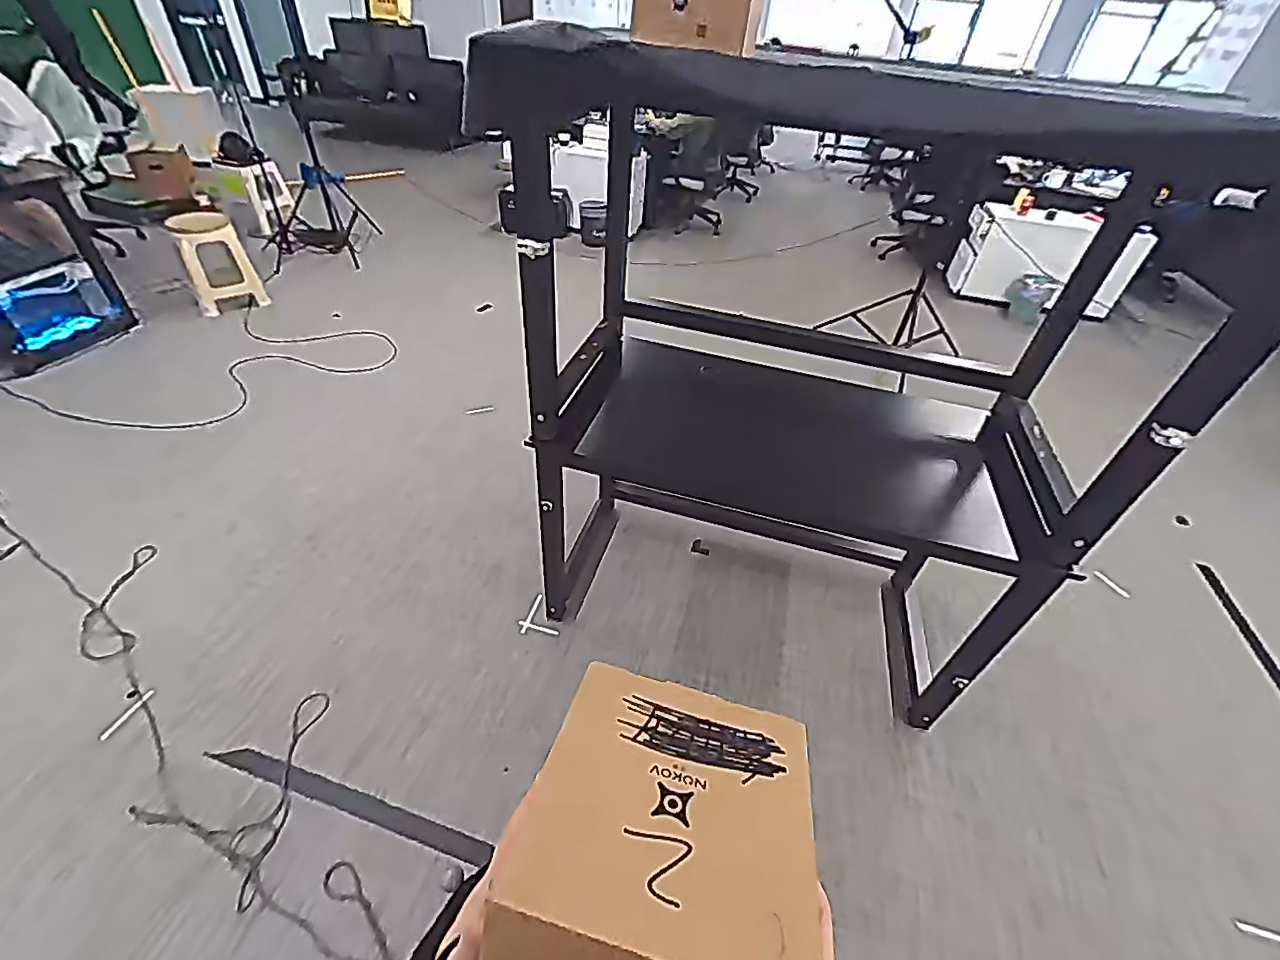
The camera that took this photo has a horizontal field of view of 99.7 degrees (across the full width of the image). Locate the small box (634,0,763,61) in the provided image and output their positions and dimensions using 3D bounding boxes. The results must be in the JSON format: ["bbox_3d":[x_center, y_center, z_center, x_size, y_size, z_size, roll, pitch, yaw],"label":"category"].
[{"bbox_3d":[0.094,-0.723,0.779,0.168,0.176,0.179,14,40,7],"label":"small box"}]
